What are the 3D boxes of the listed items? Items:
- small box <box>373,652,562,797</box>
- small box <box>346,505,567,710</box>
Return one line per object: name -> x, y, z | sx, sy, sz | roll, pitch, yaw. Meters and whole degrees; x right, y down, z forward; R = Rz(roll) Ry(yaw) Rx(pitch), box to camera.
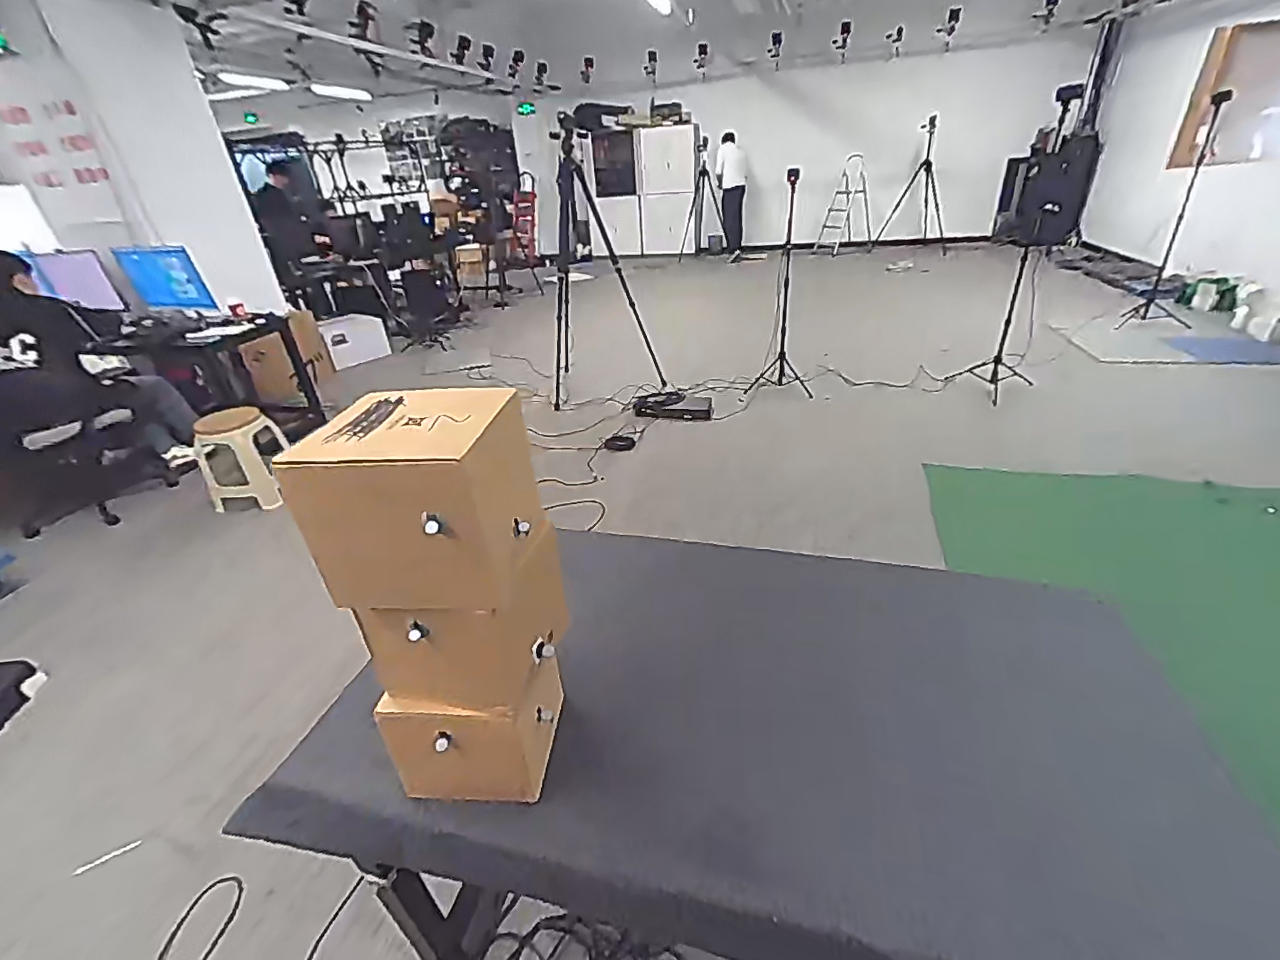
small box -> -0.211, 0.295, 0.722 | 0.179, 0.176, 0.168 | -1, 29, 6
small box -> -0.203, 0.148, 0.651 | 0.179, 0.176, 0.168 | 5, 32, 13
